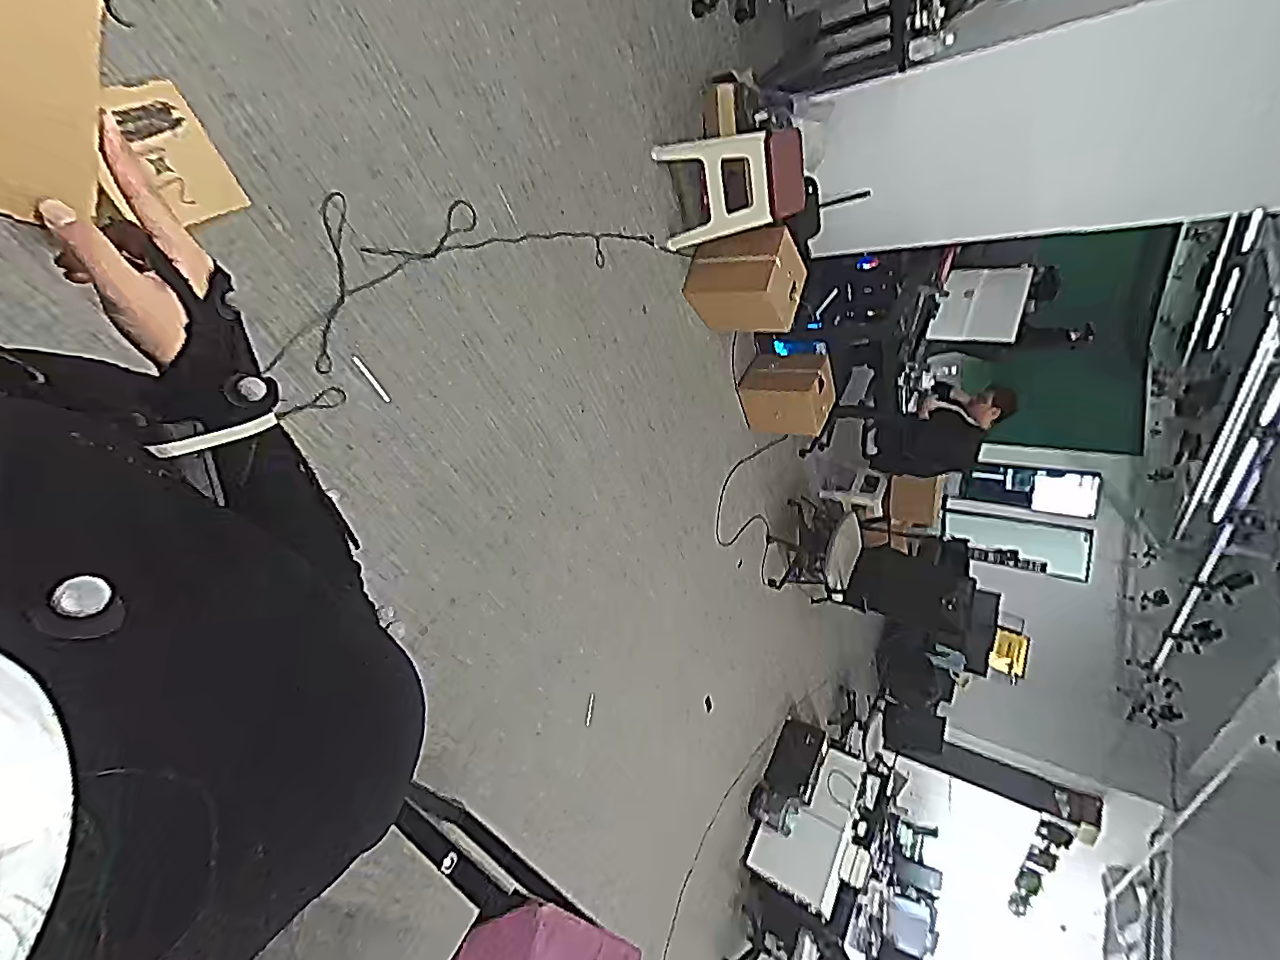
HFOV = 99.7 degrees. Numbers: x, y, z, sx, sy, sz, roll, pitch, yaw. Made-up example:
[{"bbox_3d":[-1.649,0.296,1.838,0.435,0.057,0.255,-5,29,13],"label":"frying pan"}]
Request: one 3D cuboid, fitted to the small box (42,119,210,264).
[{"bbox_3d":[-0.894,-0.483,0.914,0.179,0.176,0.168,-47,132,-35],"label":"small box"}]
